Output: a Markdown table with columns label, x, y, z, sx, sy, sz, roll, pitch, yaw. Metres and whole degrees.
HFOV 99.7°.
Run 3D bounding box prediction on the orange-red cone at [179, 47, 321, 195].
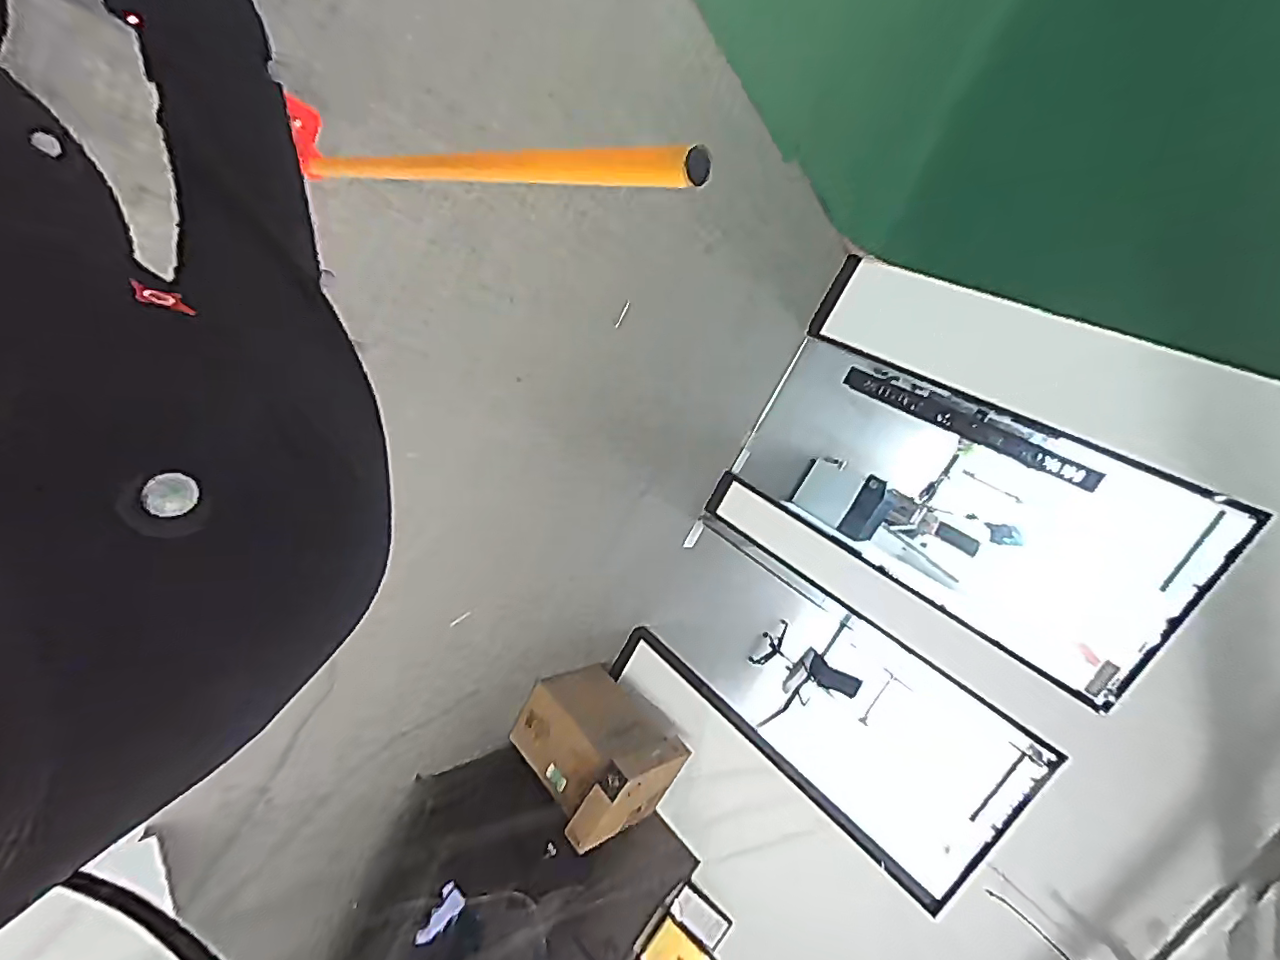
| label | x | y | z | sx | sy | sz | roll | pitch | yaw |
| --- | --- | --- | --- | --- | --- | --- | --- | --- | --- |
| orange-red cone | -0.666 | -0.626 | 0.990 | 0.199 | 0.360 | 0.198 | 14 | 109 | -54 |
